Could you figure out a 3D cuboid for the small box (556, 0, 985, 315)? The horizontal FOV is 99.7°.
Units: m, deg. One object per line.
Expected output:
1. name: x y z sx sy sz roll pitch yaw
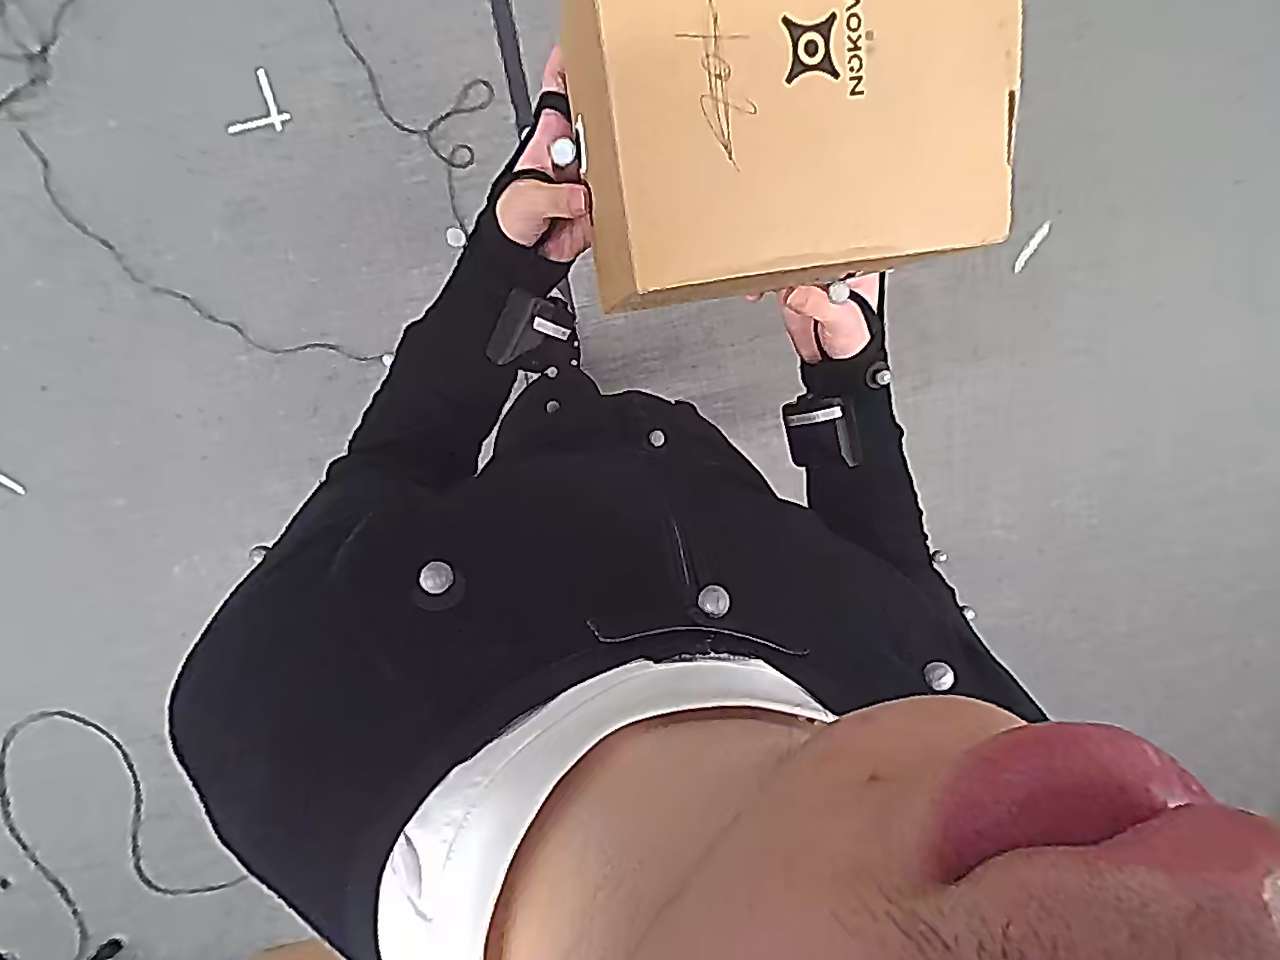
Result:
1. small box: 0.053 -0.193 0.303 0.179 0.176 0.168 -12 104 -5
